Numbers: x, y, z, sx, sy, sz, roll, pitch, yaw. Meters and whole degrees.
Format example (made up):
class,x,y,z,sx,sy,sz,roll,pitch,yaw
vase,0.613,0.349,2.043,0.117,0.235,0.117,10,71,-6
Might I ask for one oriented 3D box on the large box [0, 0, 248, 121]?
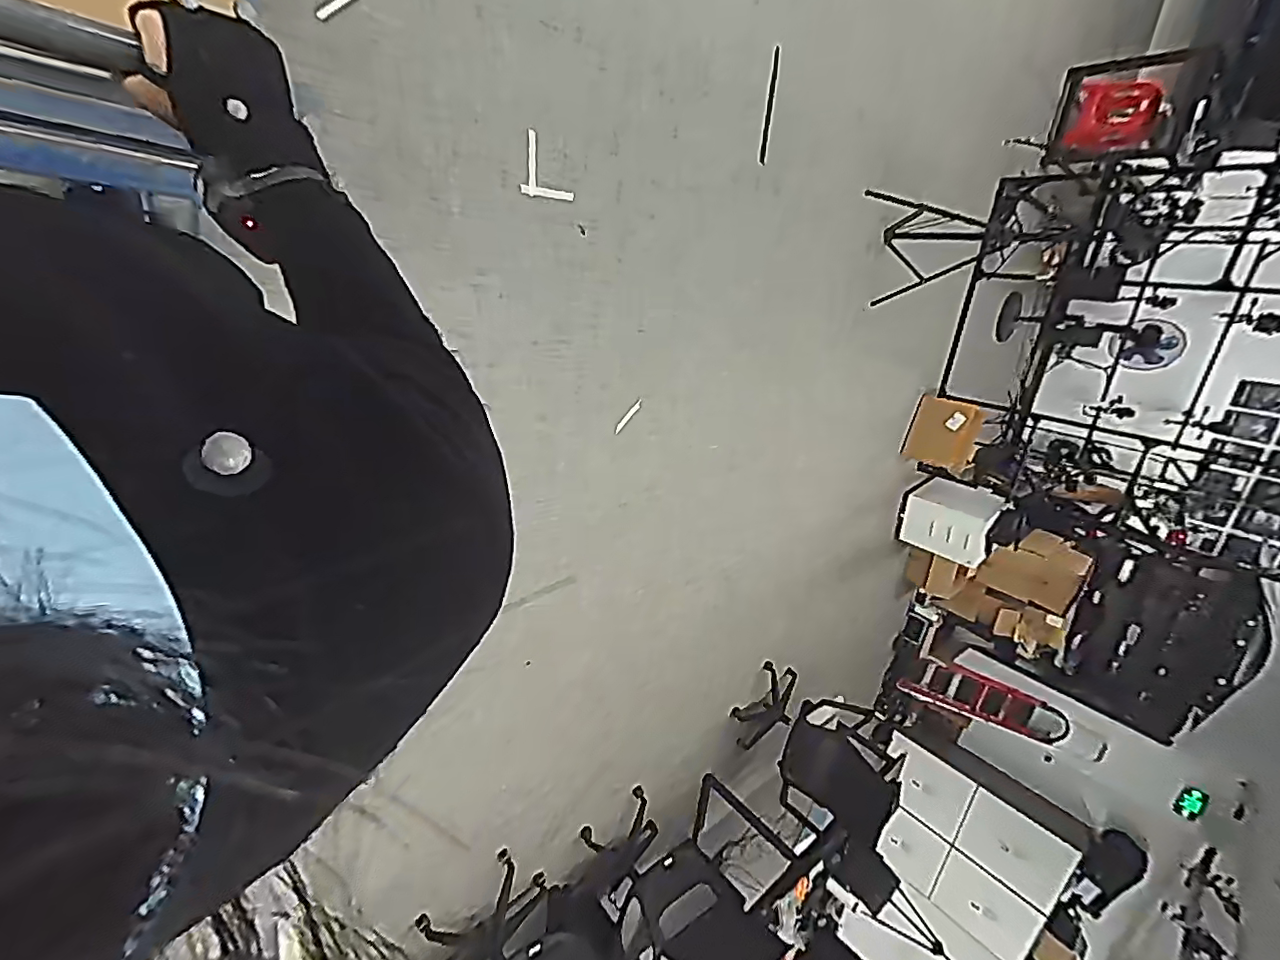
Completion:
class,x,y,z,sx,sy,sz,roll,pitch,yaw
large box,-0.772,-0.681,0.663,0.408,0.320,0.320,-13,118,-39
